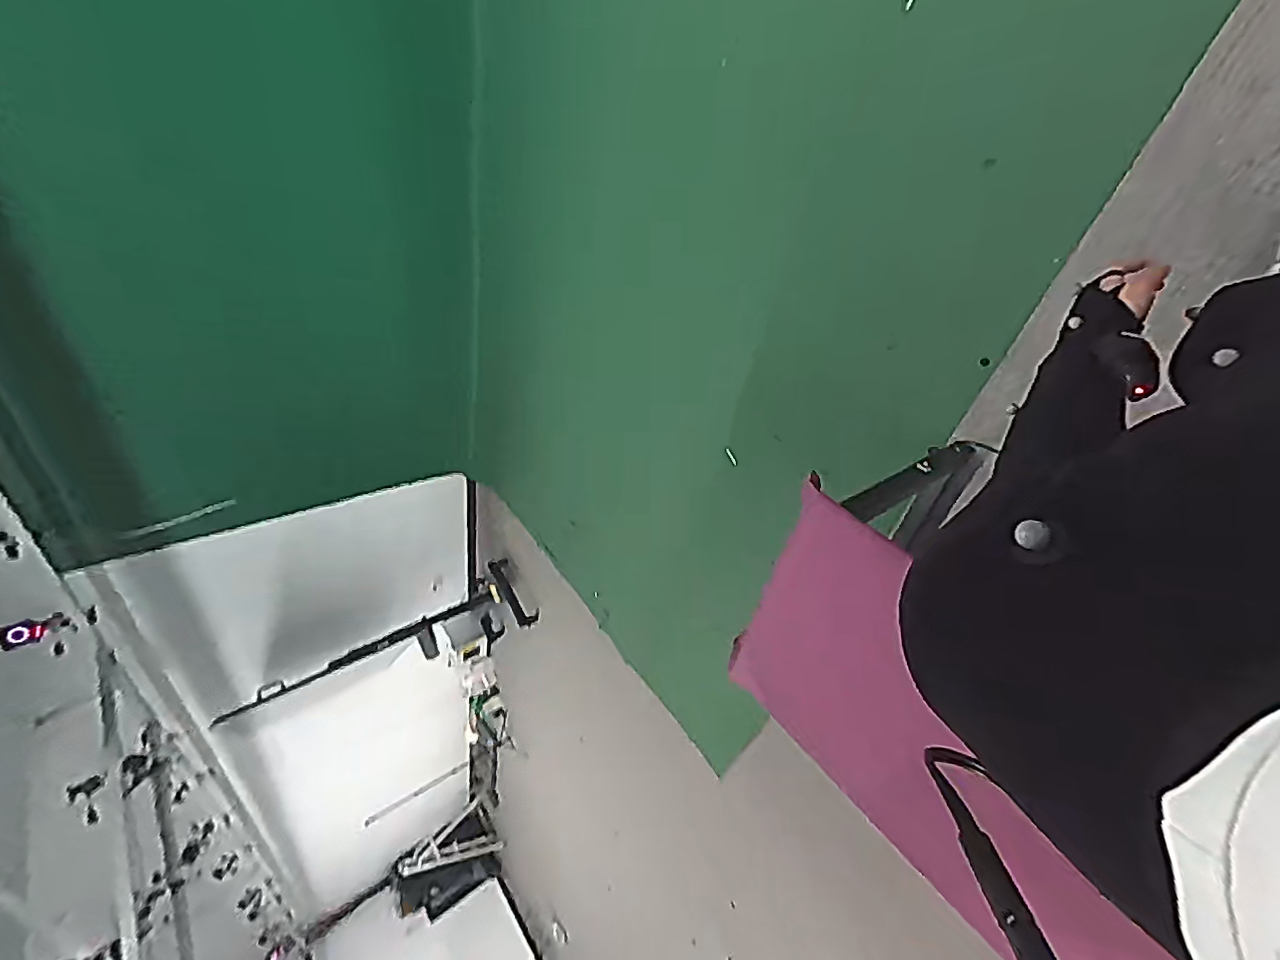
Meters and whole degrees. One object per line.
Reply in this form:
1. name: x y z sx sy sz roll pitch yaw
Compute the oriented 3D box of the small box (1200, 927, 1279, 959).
1. small box: 0.834 0.714 0.671 0.168 0.176 0.179 40 134 36
